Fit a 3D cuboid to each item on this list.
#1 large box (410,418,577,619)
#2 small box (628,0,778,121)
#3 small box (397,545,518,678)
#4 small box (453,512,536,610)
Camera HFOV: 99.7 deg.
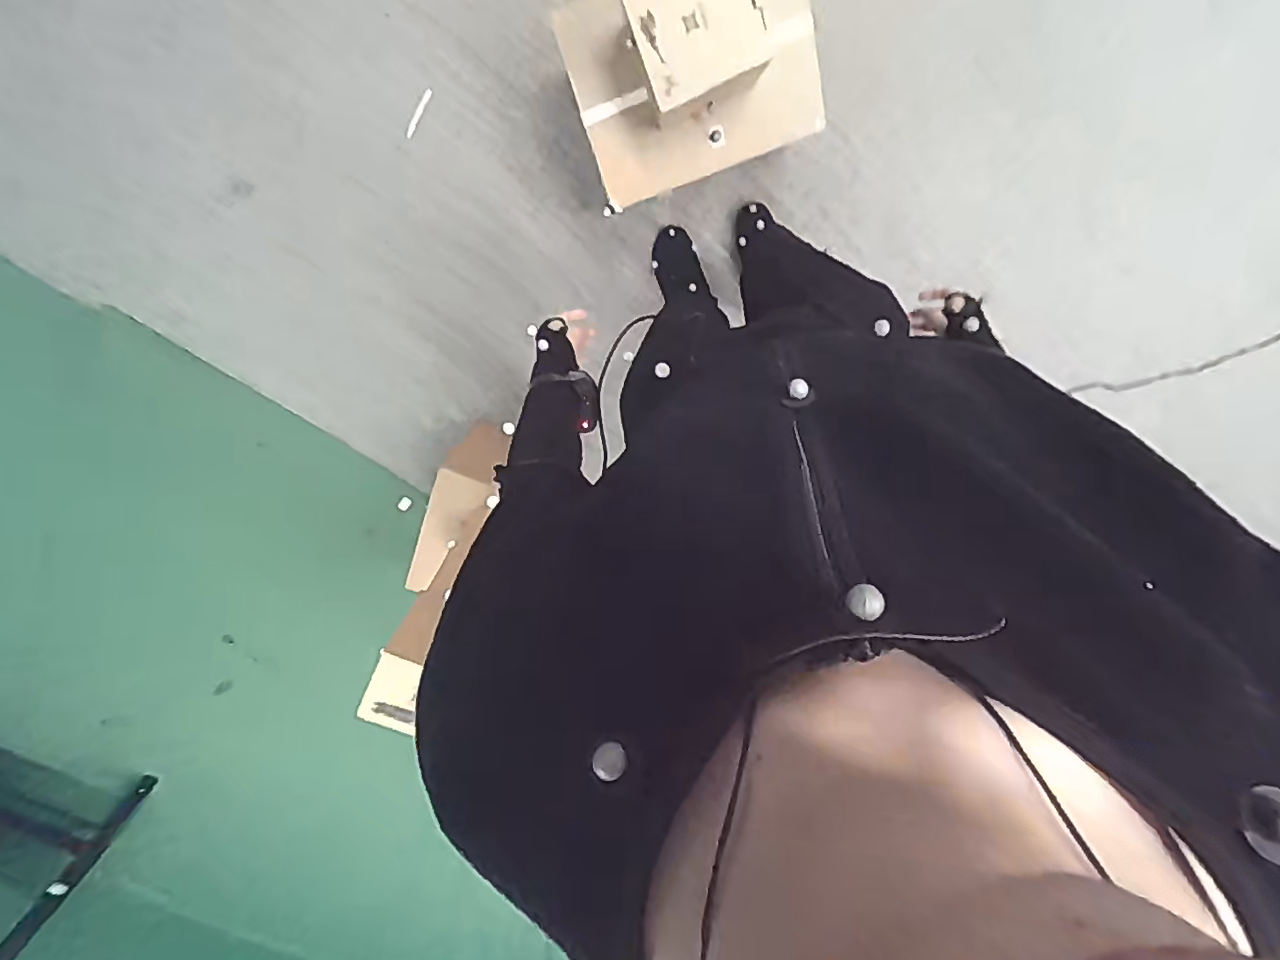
[{"bbox_3d":[-0.397,0.100,1.508,0.320,0.320,0.408,22,117,-8],"label":"large box"},{"bbox_3d":[0.086,-0.676,0.813,0.179,0.176,0.168,-20,113,11],"label":"small box"},{"bbox_3d":[-0.374,0.272,1.137,0.168,0.176,0.179,28,114,-12],"label":"small box"},{"bbox_3d":[-0.365,0.204,1.284,0.179,0.176,0.168,27,115,-12],"label":"small box"}]
